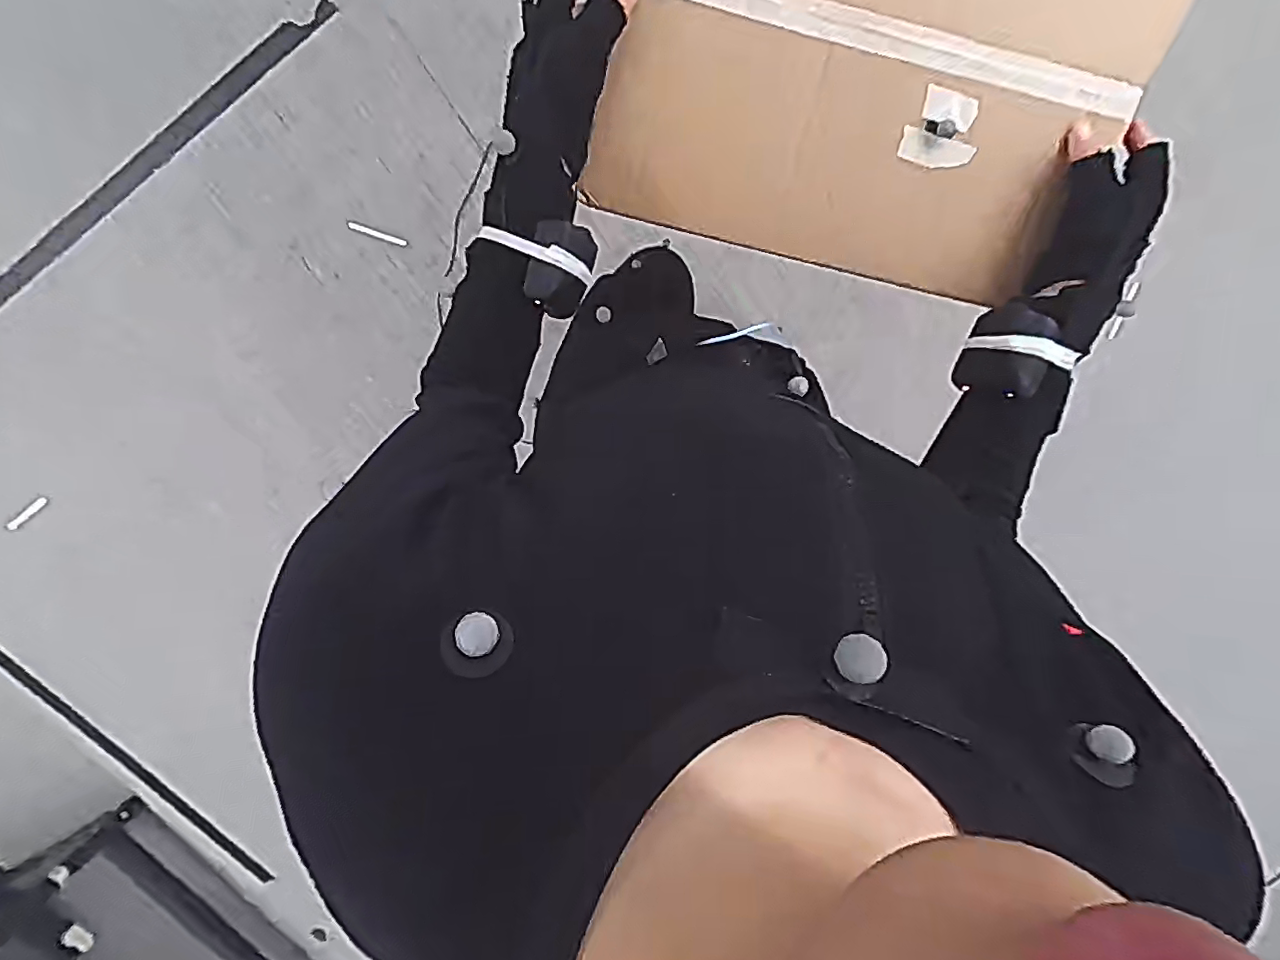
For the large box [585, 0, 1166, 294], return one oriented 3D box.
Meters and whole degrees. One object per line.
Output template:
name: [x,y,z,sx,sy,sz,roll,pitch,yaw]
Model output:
large box: [0.176,-0.407,0.537,0.408,0.320,0.320,11,120,-5]
